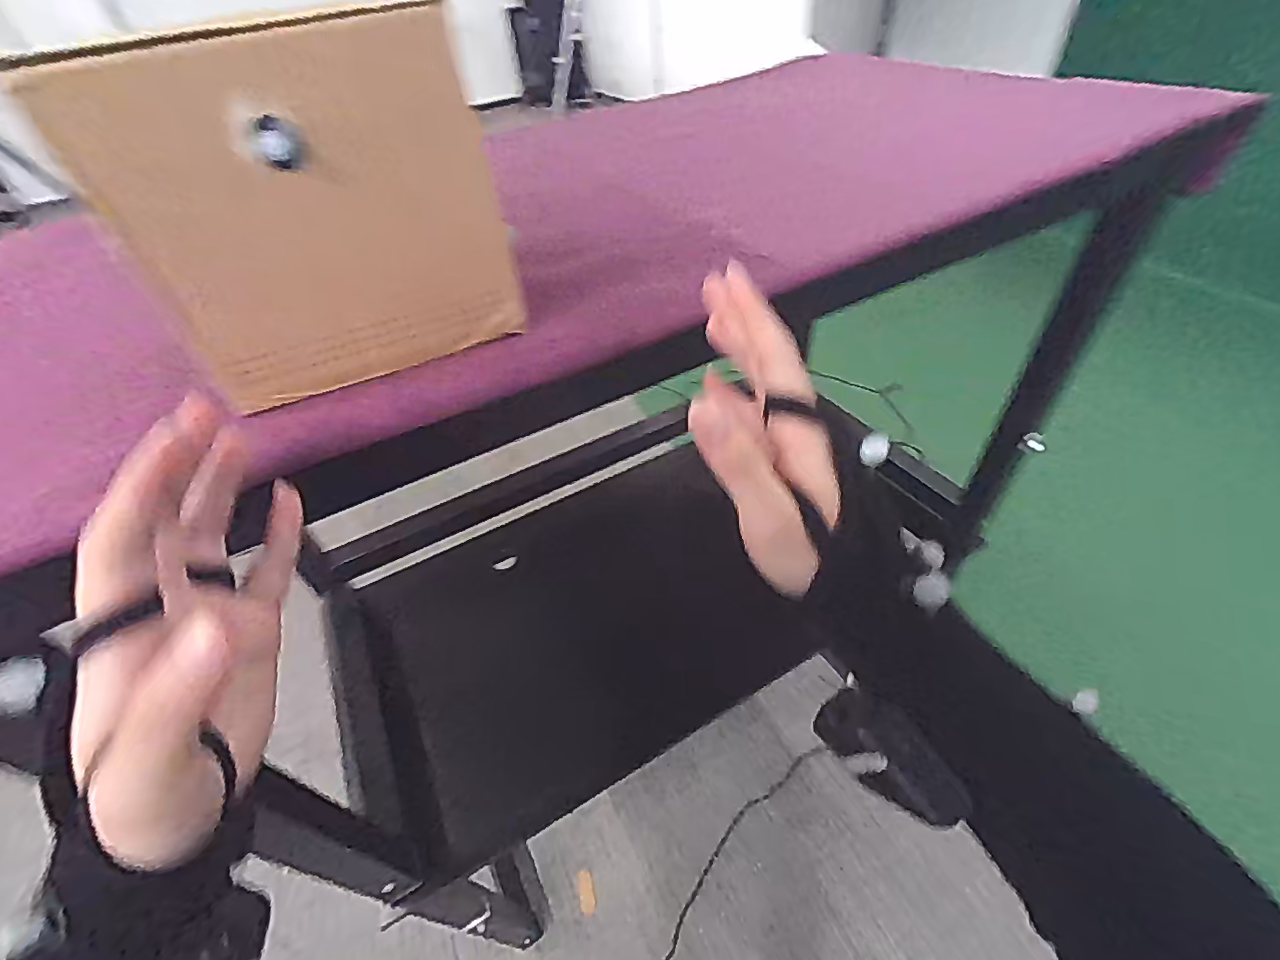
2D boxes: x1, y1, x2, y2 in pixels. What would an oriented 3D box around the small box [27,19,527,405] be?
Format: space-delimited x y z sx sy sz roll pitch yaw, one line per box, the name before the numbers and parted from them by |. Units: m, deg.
small box | -0.191 -0.171 0.345 0.179 0.176 0.168 -21 45 -15
